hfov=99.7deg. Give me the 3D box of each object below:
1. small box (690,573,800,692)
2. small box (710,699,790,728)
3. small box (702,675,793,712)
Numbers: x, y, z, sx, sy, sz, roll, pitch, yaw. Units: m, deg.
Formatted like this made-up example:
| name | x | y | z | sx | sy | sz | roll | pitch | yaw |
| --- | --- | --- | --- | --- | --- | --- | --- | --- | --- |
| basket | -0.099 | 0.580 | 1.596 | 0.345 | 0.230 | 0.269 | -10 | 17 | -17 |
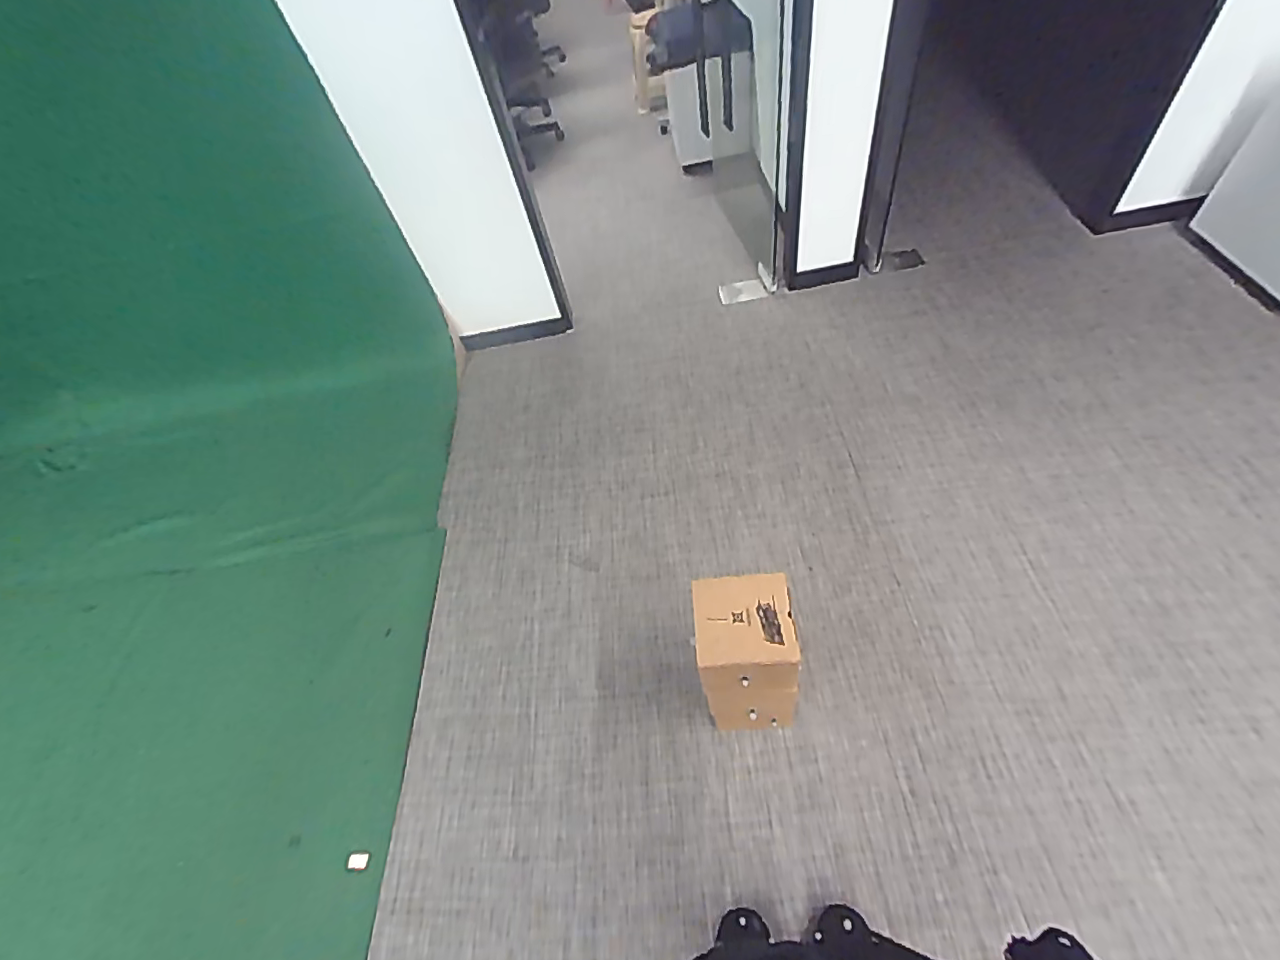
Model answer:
| name | x | y | z | sx | sy | sz | roll | pitch | yaw |
| --- | --- | --- | --- | --- | --- | --- | --- | --- | --- |
| small box | 0.192 | 0.293 | 1.027 | 0.179 | 0.176 | 0.168 | -7 | 53 | 5 |
| small box | 0.251 | 0.482 | 1.289 | 0.179 | 0.176 | 0.168 | -8 | 52 | 7 |
| small box | 0.223 | 0.391 | 1.156 | 0.179 | 0.176 | 0.168 | -4 | 53 | 8 |
